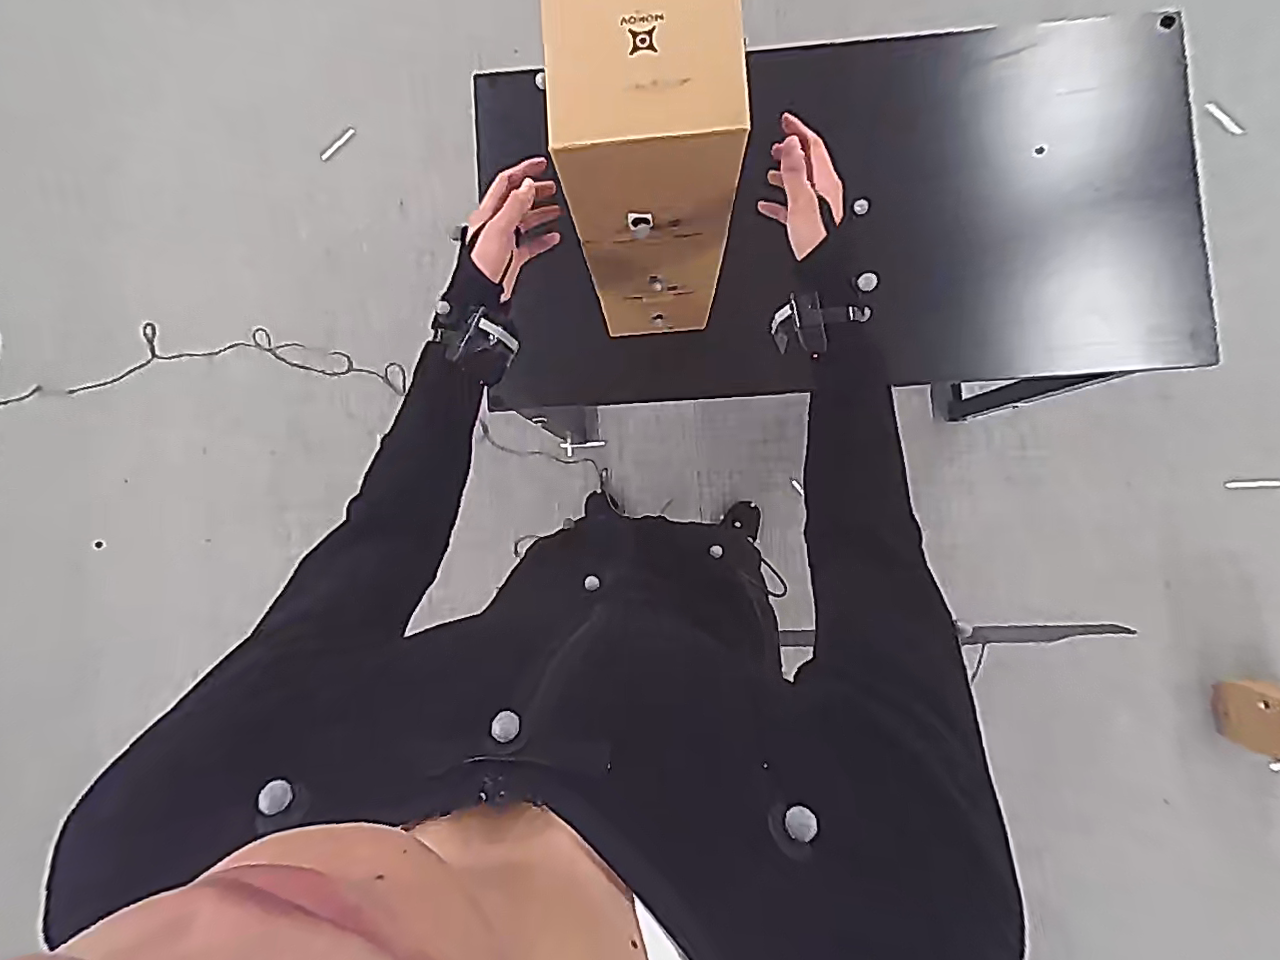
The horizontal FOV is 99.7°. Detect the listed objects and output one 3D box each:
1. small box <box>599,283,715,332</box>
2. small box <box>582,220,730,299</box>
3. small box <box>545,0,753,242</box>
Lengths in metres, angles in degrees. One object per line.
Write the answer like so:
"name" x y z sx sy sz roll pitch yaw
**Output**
"small box" 0.023 -0.338 0.840 0.168 0.176 0.179 -5 88 2
"small box" 0.016 -0.347 0.675 0.168 0.176 0.179 -4 87 3
"small box" 0.008 -0.354 0.512 0.168 0.176 0.179 -3 88 3
